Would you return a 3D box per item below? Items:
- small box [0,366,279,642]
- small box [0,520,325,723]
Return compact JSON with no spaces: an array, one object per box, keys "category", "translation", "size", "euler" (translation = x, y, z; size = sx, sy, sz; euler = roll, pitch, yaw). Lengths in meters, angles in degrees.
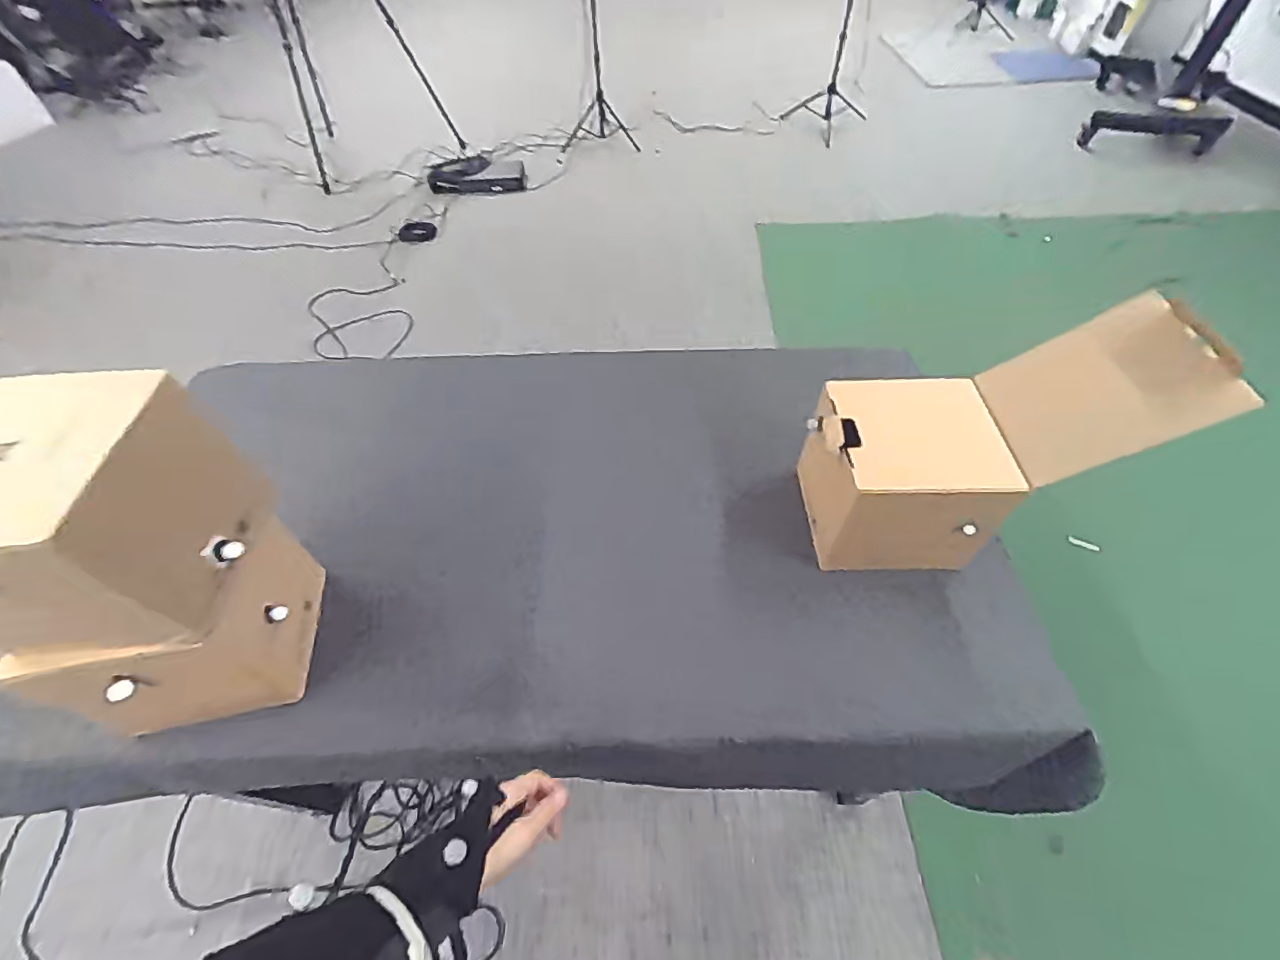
[{"category":"small box","translation":[-0.456,0.026,0.451],"size":[0.179,0.176,0.168],"euler":[-3,53,-1]},{"category":"small box","translation":[-0.466,0.137,0.570],"size":[0.179,0.176,0.168],"euler":[-10,52,-6]}]
